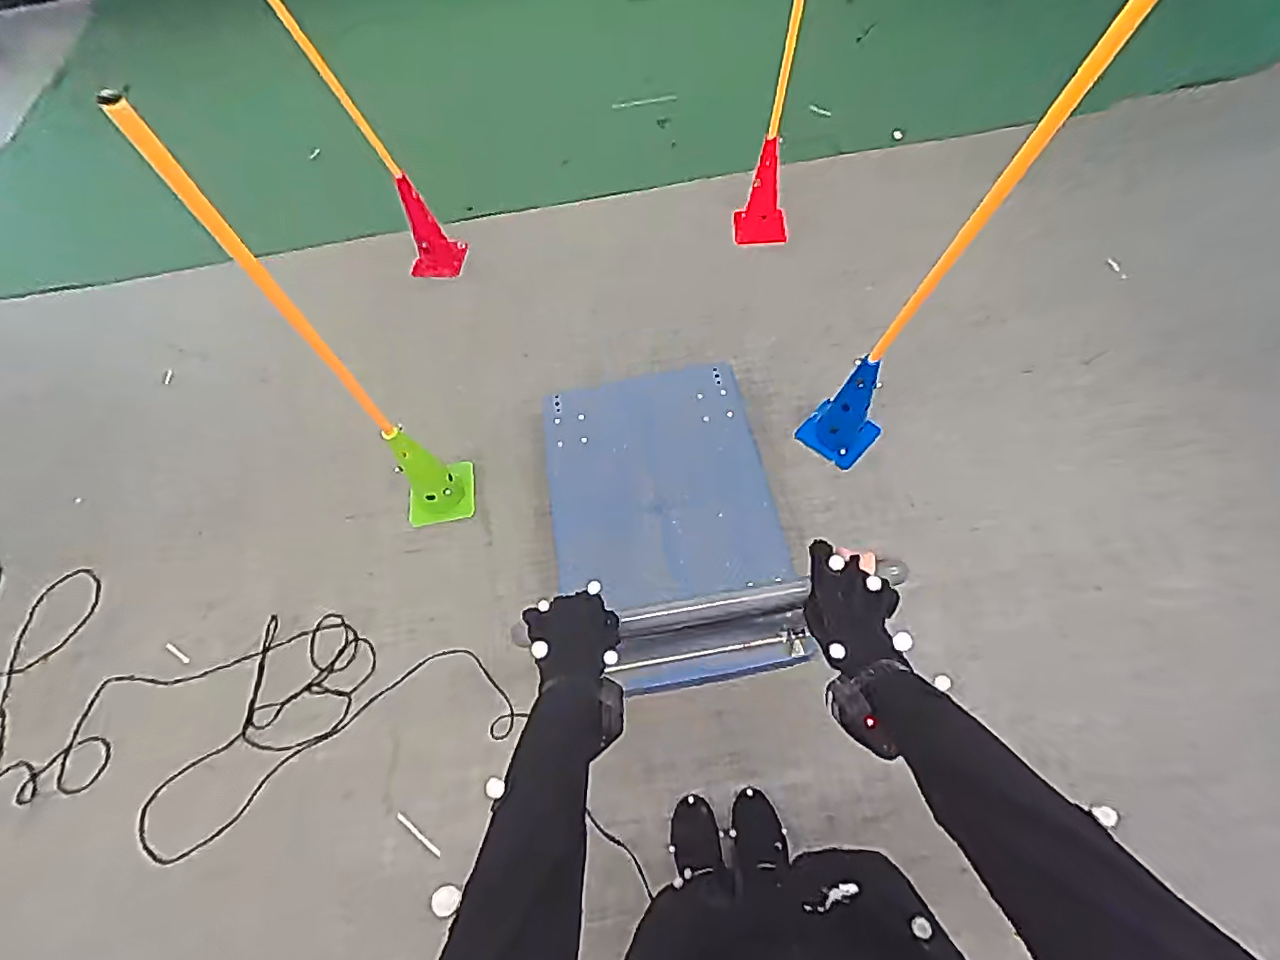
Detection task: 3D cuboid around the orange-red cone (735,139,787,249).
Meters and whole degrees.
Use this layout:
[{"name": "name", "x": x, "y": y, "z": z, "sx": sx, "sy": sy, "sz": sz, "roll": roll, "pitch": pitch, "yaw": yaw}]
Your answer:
[{"name": "orange-red cone", "x": 0.461, "y": -1.066, "z": 1.992, "sx": 0.198, "sy": 0.360, "sz": 0.199, "roll": 0, "pitch": 63, "yaw": 6}]
